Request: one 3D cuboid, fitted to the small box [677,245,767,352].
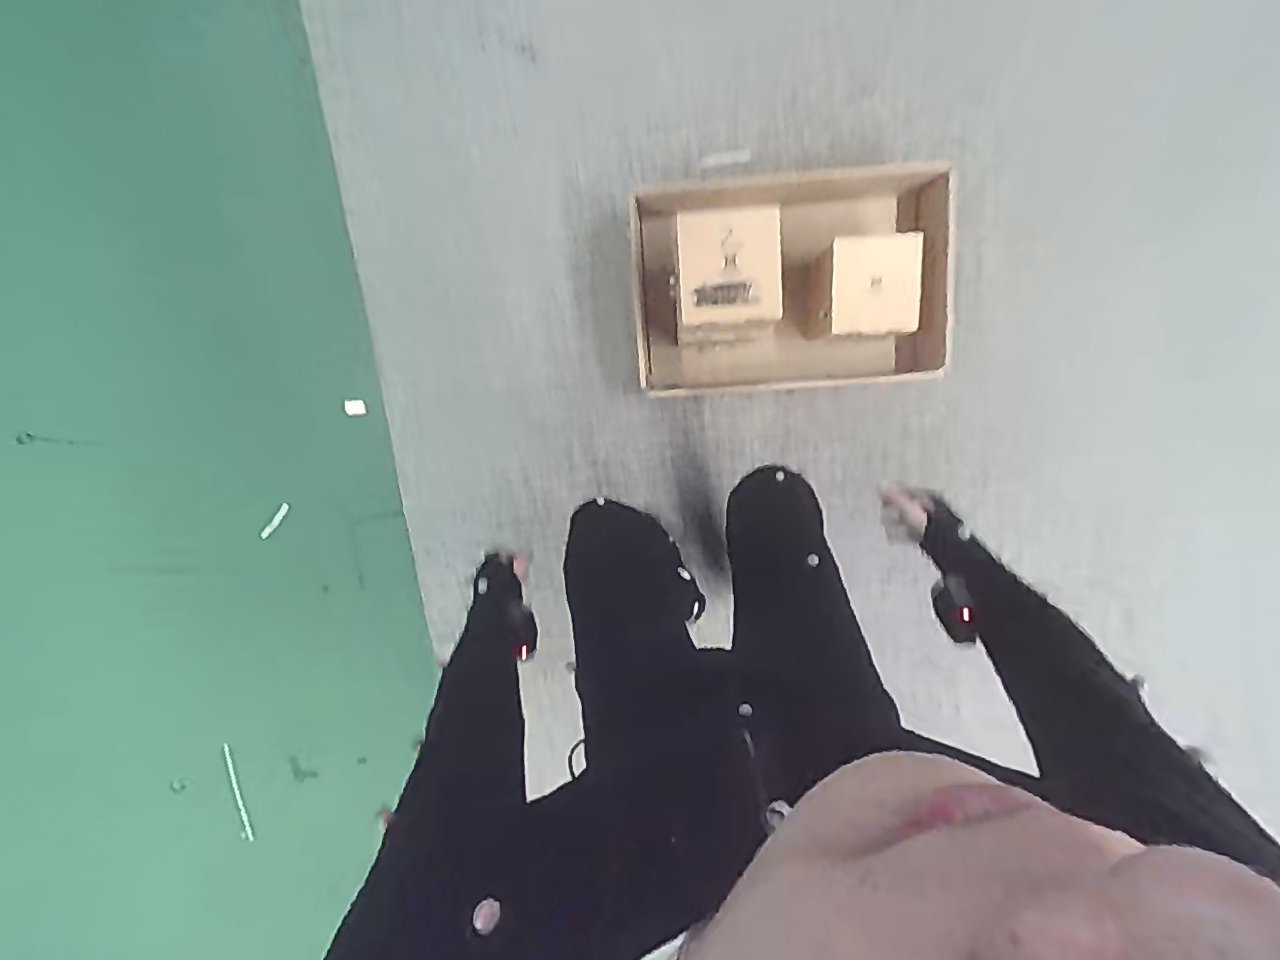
[{"bbox_3d":[0.164,-0.365,1.114,0.168,0.176,0.179,-3,98,3],"label":"small box"}]
